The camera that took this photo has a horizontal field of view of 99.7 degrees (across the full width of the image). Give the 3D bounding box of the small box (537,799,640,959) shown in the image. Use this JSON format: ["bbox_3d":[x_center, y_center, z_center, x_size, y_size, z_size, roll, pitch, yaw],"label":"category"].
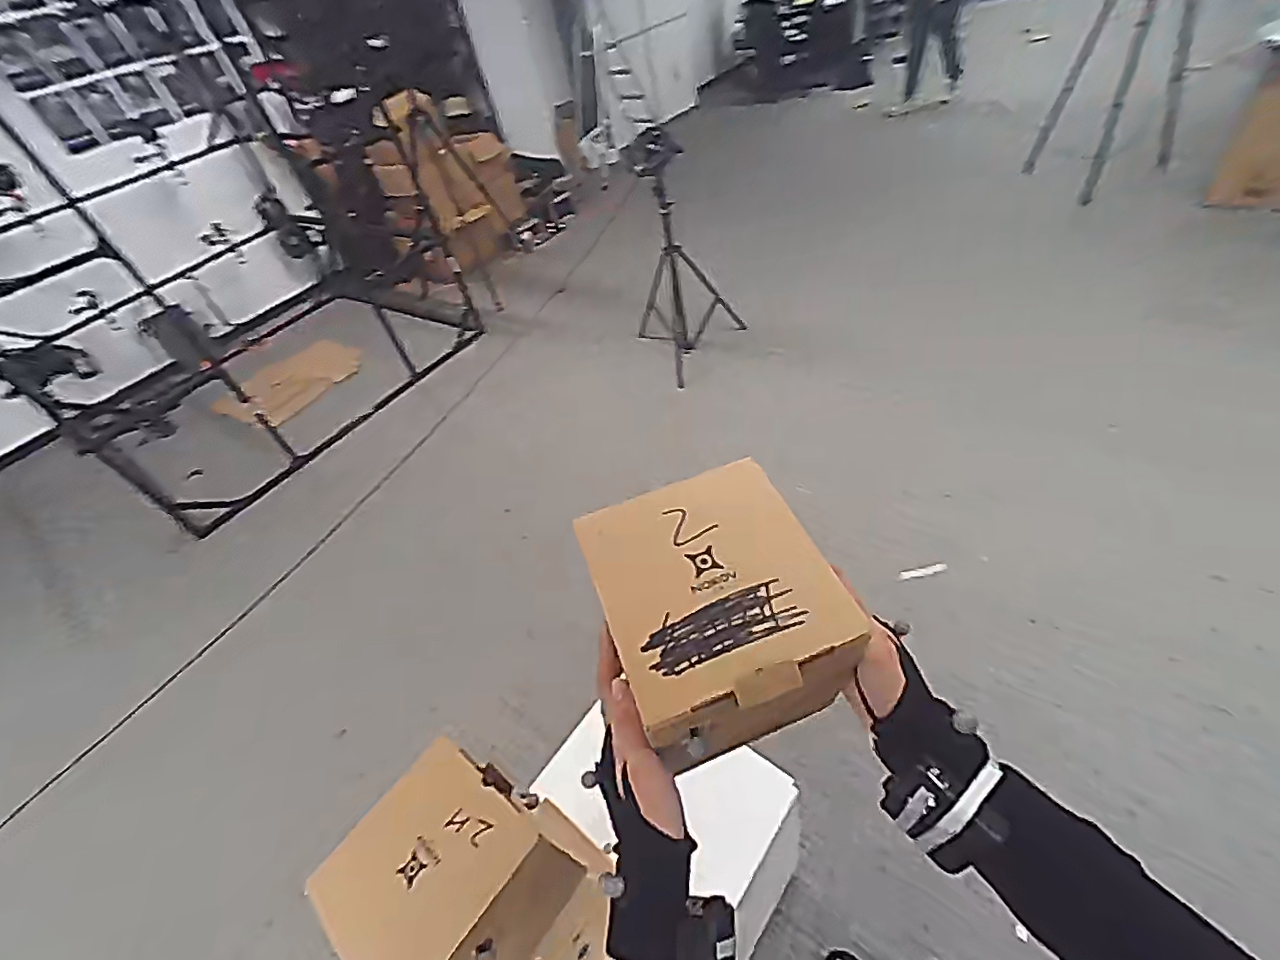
[{"bbox_3d":[-0.120,0.627,0.802,0.168,0.176,0.179,24,56,34],"label":"small box"}]

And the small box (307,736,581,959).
[{"bbox_3d":[-0.187,0.415,0.561,0.168,0.176,0.179,23,56,33],"label":"small box"}]

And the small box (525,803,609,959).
[{"bbox_3d":[-0.164,0.525,0.682,0.179,0.176,0.168,26,57,36],"label":"small box"}]
